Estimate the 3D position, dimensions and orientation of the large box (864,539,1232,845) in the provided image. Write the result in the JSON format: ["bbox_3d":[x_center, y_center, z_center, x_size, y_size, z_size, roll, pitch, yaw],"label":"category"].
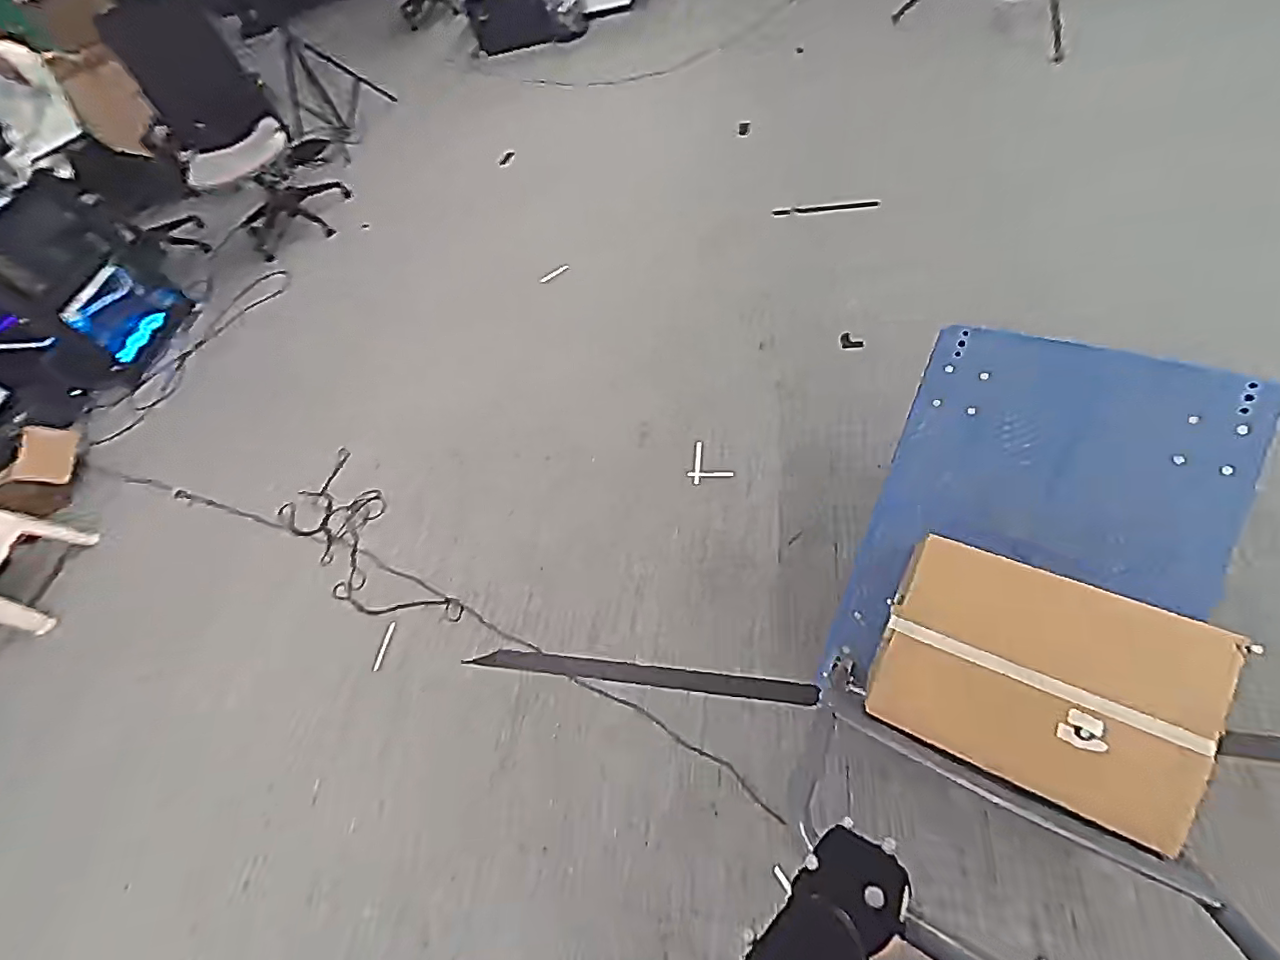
[{"bbox_3d":[0.646,0.323,0.953,0.408,0.320,0.320,20,89,24],"label":"large box"}]
